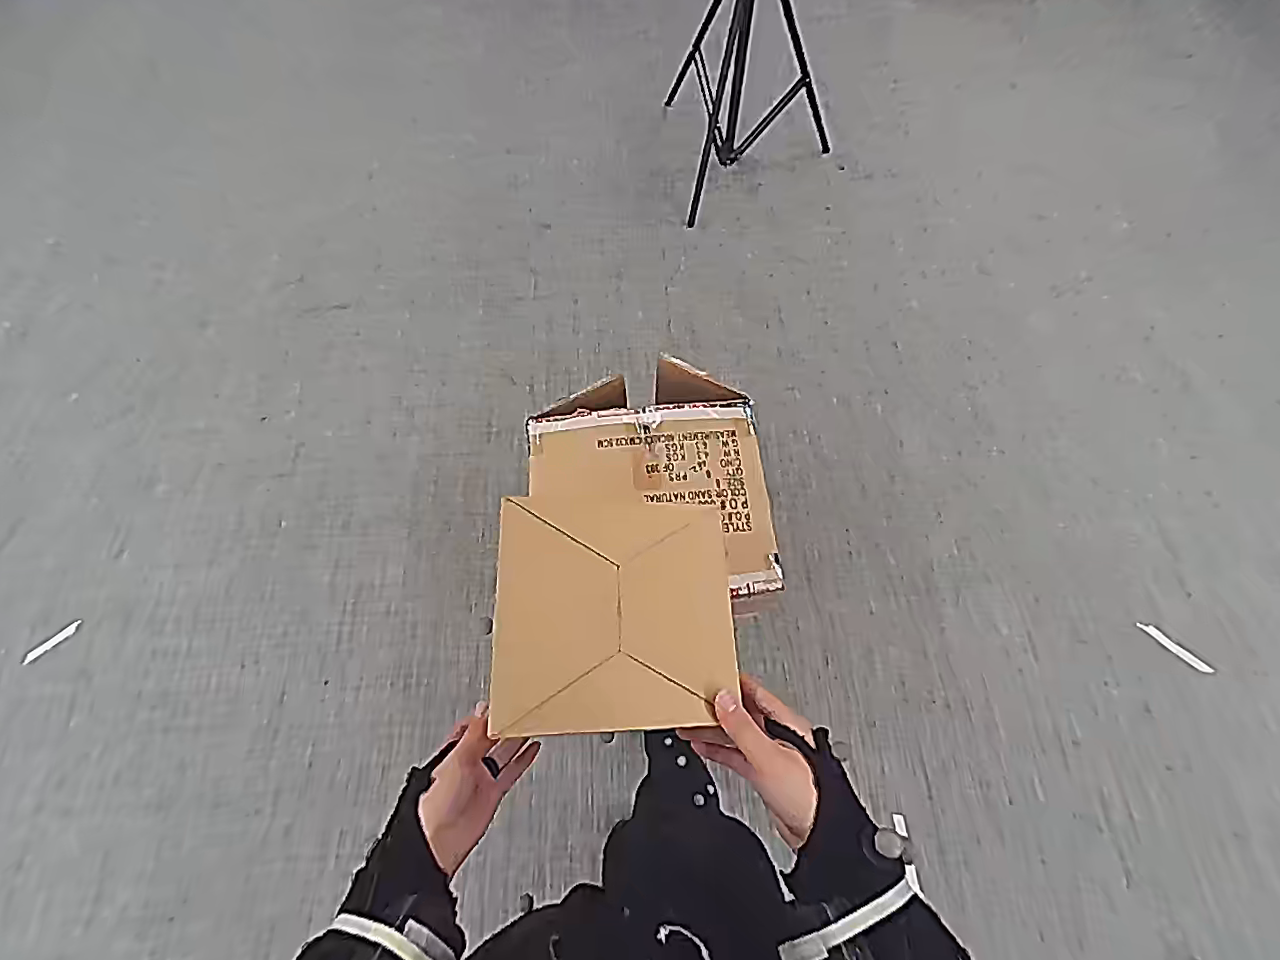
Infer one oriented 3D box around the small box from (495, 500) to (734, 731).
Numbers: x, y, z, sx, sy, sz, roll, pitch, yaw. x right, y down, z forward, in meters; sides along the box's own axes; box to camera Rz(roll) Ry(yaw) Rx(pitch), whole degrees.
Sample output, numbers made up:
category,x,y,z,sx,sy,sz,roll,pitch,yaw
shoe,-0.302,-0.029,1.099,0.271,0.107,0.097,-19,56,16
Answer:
category,x,y,z,sx,sy,sz,roll,pitch,yaw
small box,-0.033,0.123,0.472,0.179,0.176,0.168,3,66,-14
